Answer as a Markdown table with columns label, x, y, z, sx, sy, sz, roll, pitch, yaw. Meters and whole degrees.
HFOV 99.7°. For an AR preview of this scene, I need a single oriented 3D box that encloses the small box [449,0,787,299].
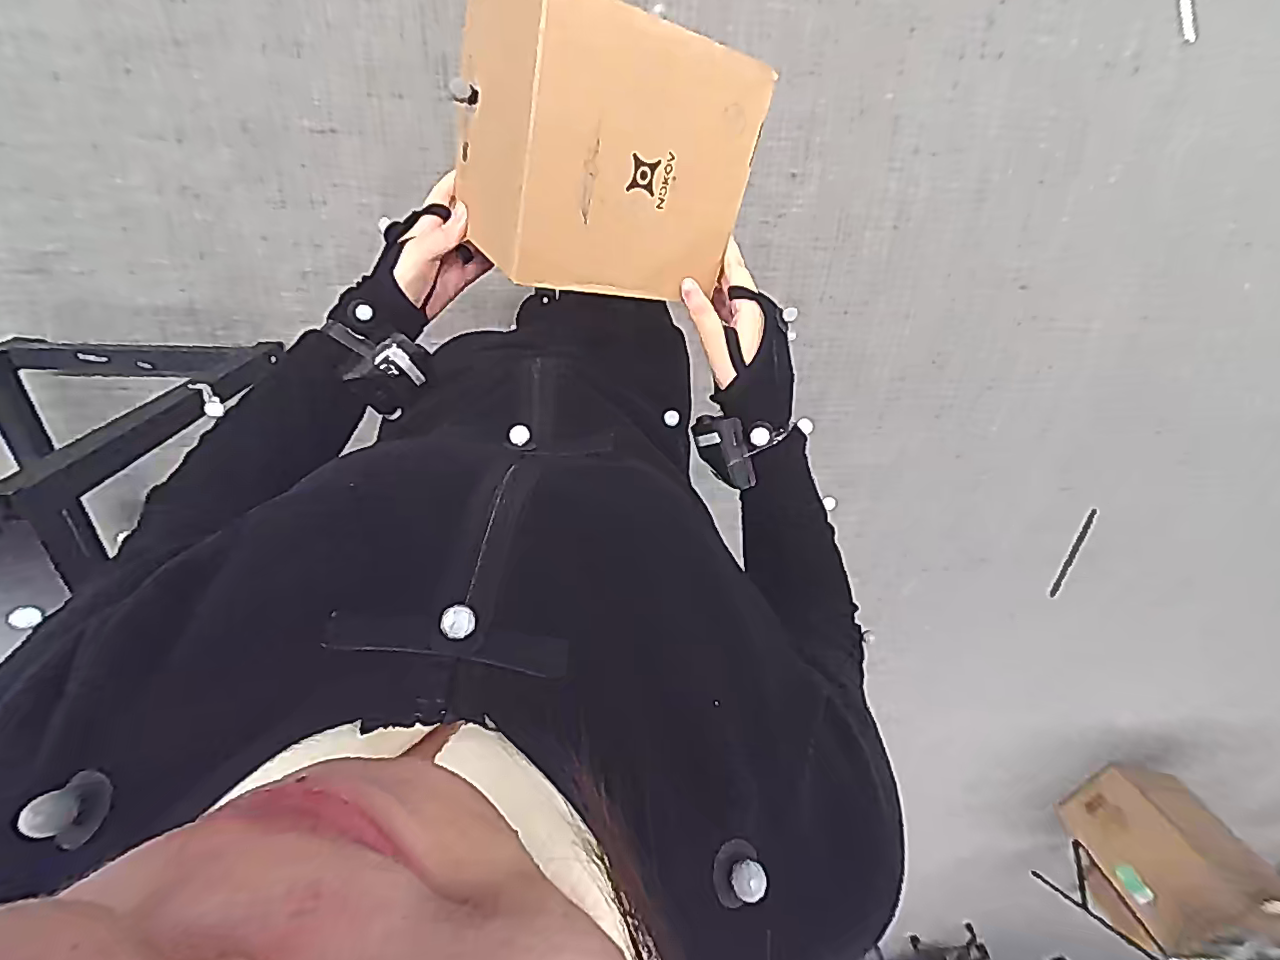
| label | x | y | z | sx | sy | sz | roll | pitch | yaw |
| --- | --- | --- | --- | --- | --- | --- | --- | --- | --- |
| small box | -0.031 | -0.253 | 0.411 | 0.179 | 0.176 | 0.168 | -6 | 127 | -32 |
